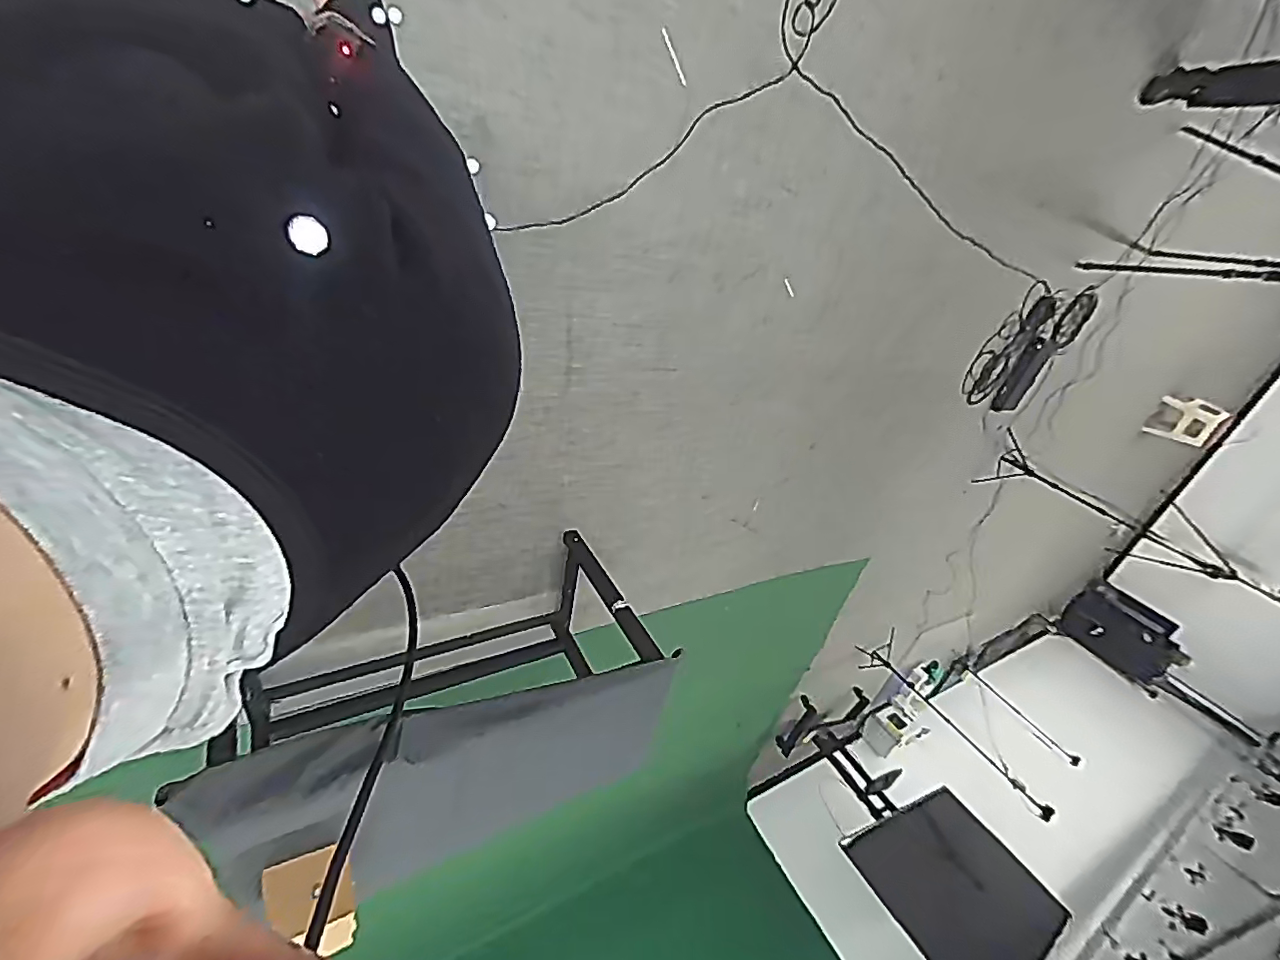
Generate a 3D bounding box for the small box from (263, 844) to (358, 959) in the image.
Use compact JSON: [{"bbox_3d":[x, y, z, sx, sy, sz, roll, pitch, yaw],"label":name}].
[{"bbox_3d":[-0.780,1.009,1.276,0.179,0.176,0.168,-2,123,-36],"label":"small box"}]
